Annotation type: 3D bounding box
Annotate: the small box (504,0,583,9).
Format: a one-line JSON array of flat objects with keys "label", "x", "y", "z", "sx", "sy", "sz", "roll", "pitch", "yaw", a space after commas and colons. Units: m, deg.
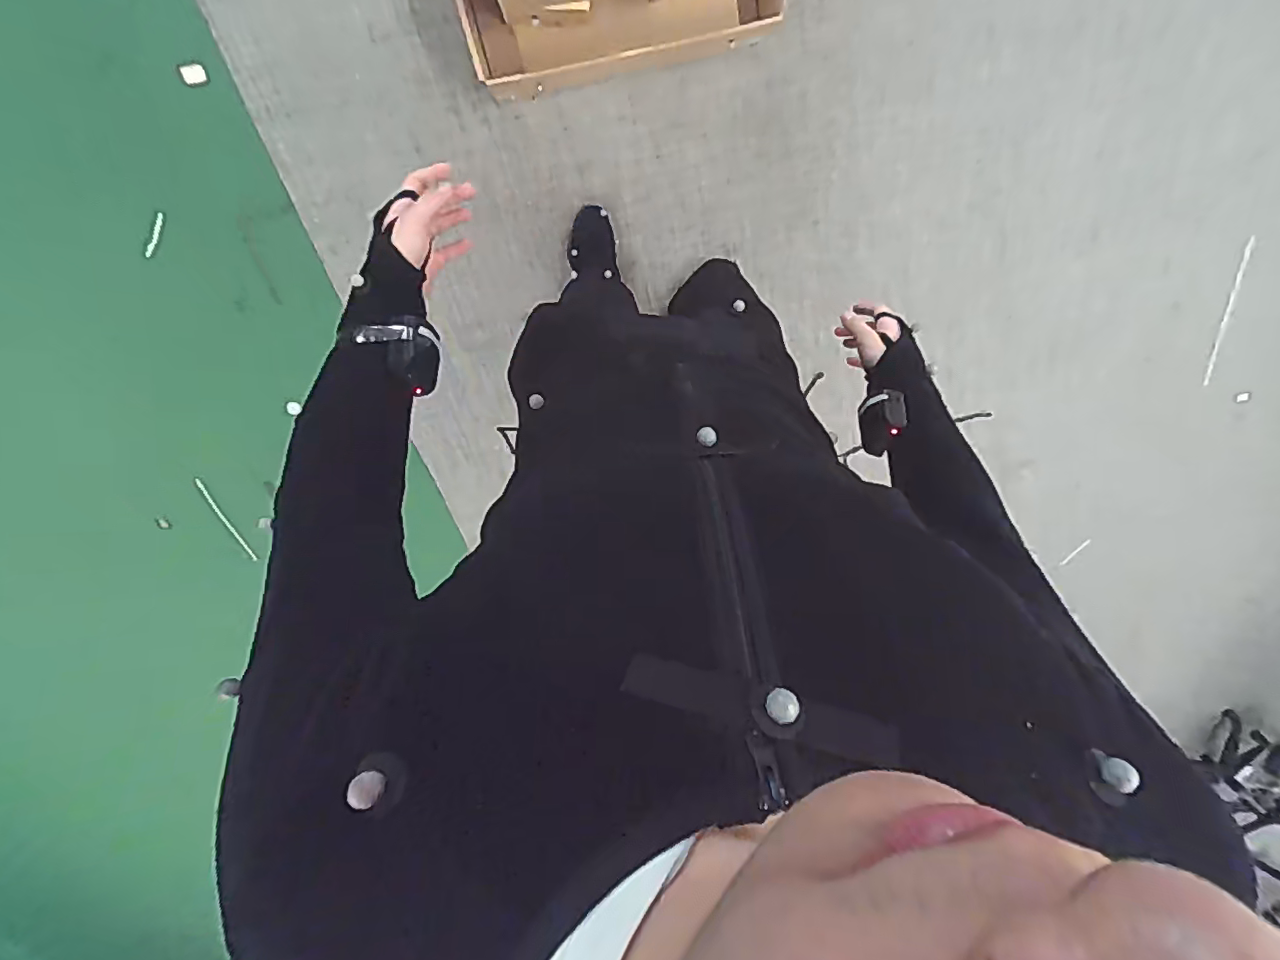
[{"label": "small box", "x": -0.159, "y": -0.892, "z": 0.870, "sx": 0.179, "sy": 0.176, "sz": 0.168, "roll": -10, "pitch": 120, "yaw": -2}]
